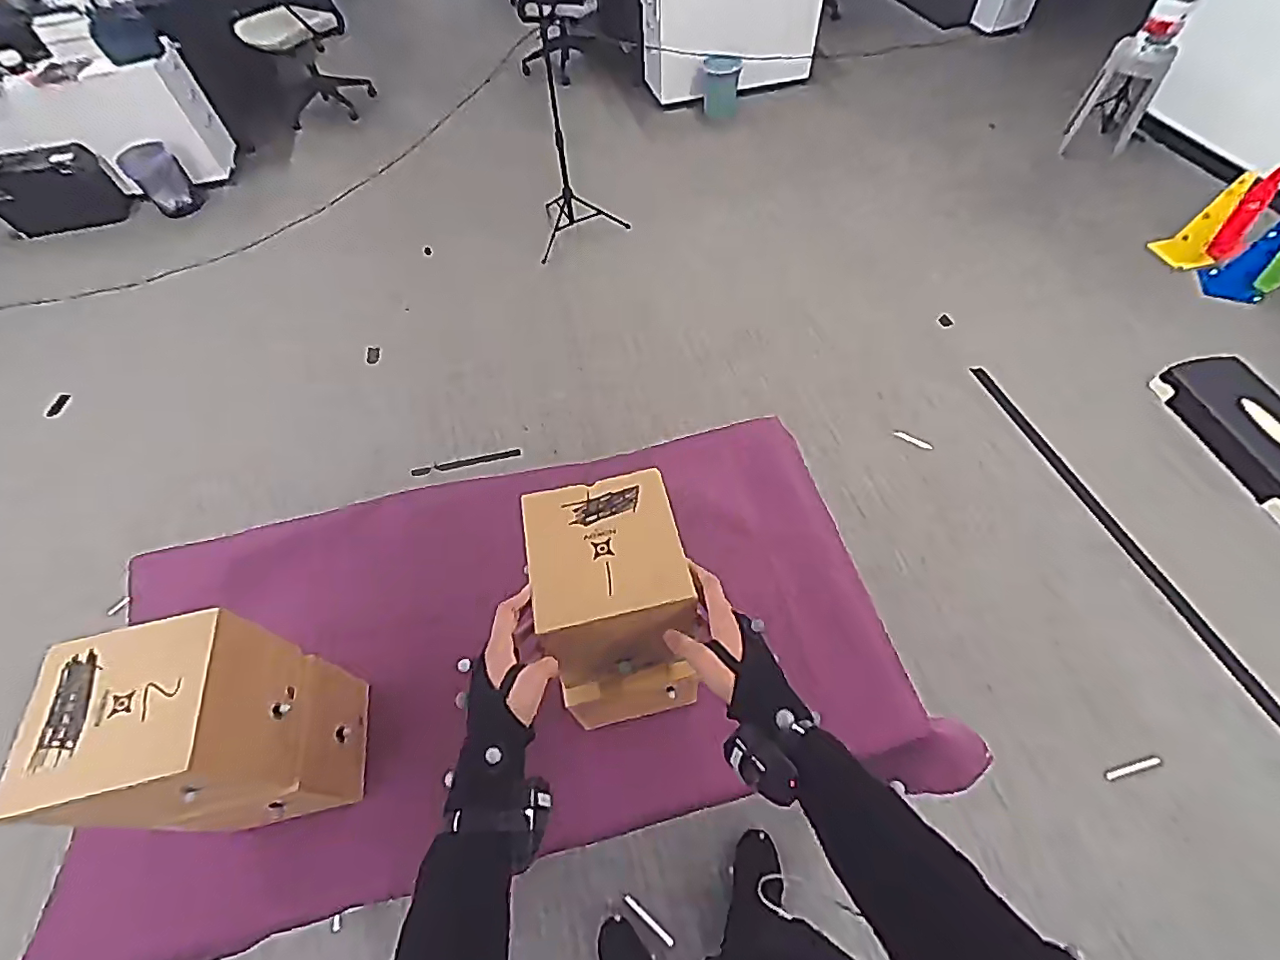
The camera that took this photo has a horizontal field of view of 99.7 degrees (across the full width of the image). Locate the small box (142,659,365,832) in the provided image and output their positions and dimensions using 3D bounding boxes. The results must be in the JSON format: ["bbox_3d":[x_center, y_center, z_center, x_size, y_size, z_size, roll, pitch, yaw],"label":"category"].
[{"bbox_3d":[-0.497,0.361,0.732,0.179,0.176,0.168,-12,56,-5],"label":"small box"}]

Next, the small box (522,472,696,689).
[{"bbox_3d":[-0.036,0.121,0.641,0.168,0.176,0.179,-12,52,-4],"label":"small box"}]

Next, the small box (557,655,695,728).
[{"bbox_3d":[-0.025,0.245,0.786,0.179,0.176,0.168,-12,56,-5],"label":"small box"}]
